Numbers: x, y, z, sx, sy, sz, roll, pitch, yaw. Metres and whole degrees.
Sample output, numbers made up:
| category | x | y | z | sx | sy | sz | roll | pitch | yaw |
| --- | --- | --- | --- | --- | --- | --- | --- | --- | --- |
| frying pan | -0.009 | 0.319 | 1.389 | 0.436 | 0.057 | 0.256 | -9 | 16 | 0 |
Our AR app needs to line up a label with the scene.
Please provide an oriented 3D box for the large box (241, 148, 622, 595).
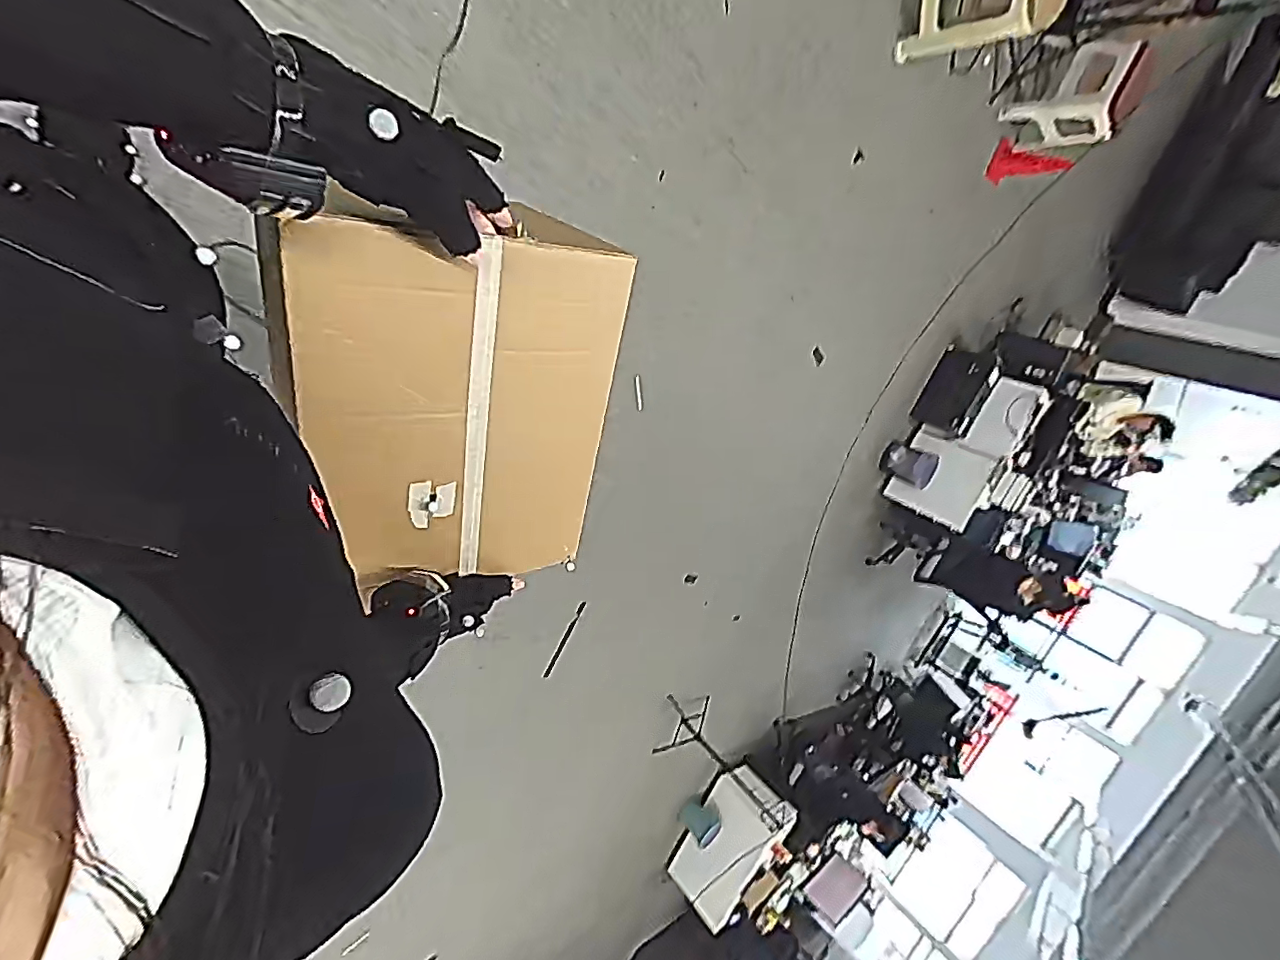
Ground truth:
| category | x | y | z | sx | sy | sz | roll | pitch | yaw |
| --- | --- | --- | --- | --- | --- | --- | --- | --- | --- |
| large box | -0.260 | -0.140 | 0.668 | 0.320 | 0.320 | 0.408 | -10 | 128 | -34 |
